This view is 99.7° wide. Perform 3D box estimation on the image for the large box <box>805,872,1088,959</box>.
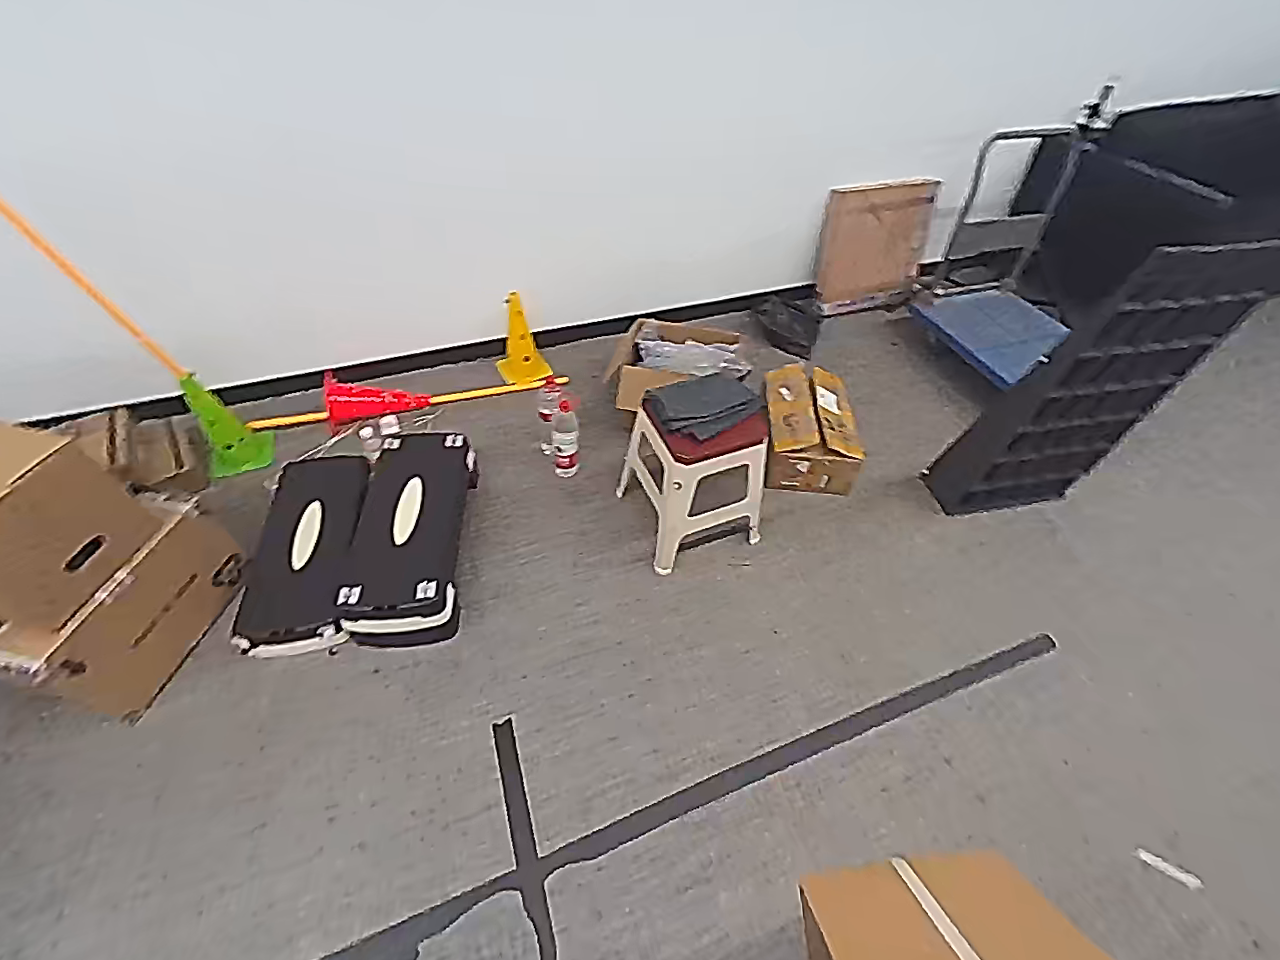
[{"bbox_3d":[0.416,0.752,0.619,0.320,0.408,0.320,-6,88,-1],"label":"large box"}]
